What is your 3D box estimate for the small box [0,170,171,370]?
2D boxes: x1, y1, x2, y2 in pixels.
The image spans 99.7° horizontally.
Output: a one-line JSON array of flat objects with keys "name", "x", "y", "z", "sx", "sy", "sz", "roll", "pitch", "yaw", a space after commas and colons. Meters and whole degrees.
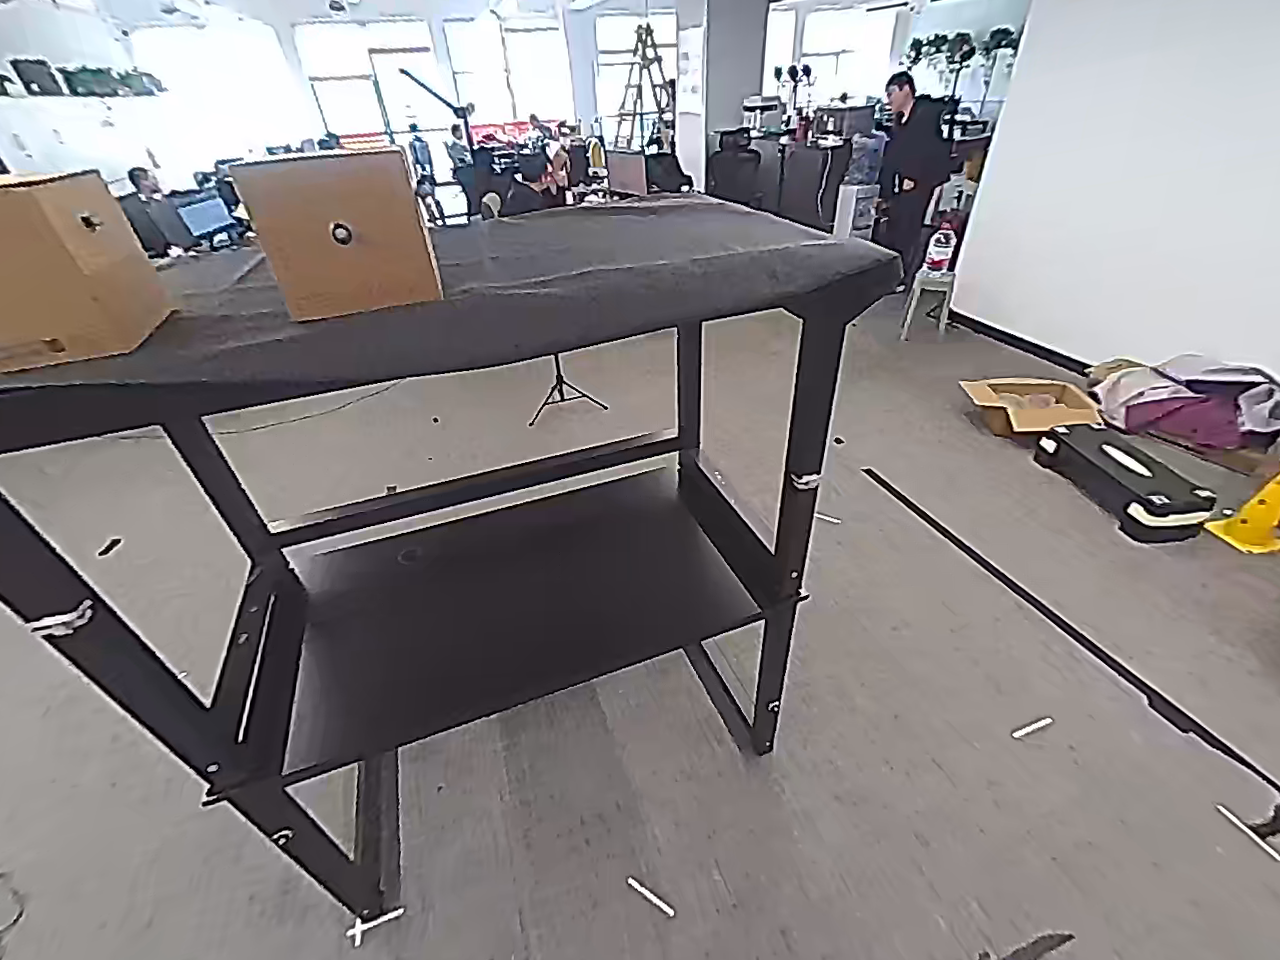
[{"name": "small box", "x": -0.669, "y": -0.228, "z": 0.593, "sx": 0.168, "sy": 0.176, "sz": 0.179, "roll": -15, "pitch": 37, "yaw": -16}]
